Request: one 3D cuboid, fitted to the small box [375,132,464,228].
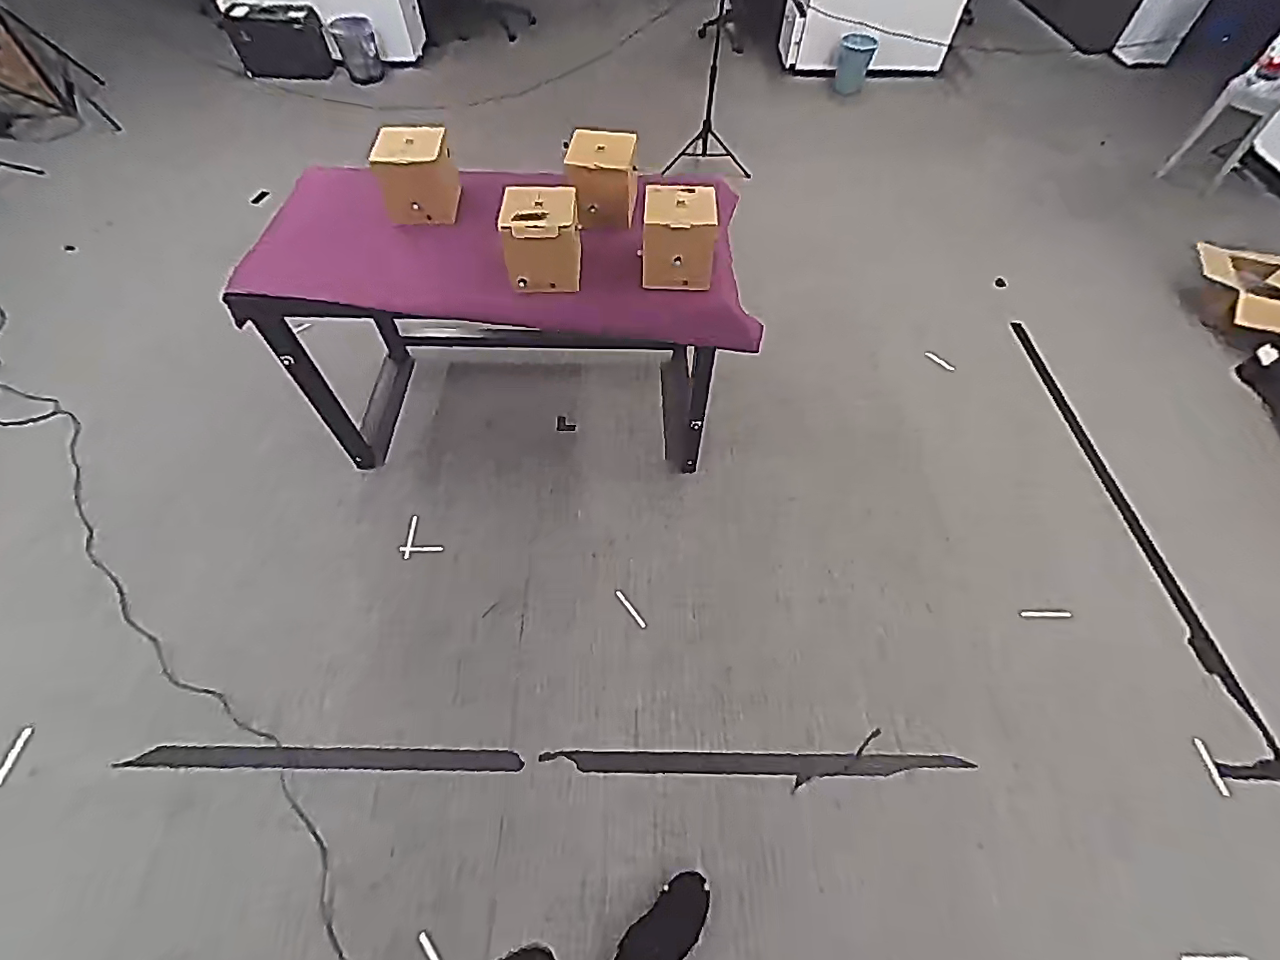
[{"bbox_3d":[-0.581,-0.803,1.451,0.168,0.176,0.179,-2,57,-2],"label":"small box"}]

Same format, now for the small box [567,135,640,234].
[{"bbox_3d":[-0.093,-0.794,1.458,0.168,0.176,0.179,6,58,3],"label":"small box"}]

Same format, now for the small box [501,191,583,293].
[{"bbox_3d":[-0.227,-0.568,1.299,0.168,0.176,0.179,0,55,-1],"label":"small box"}]

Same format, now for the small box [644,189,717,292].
[{"bbox_3d":[0.096,-0.577,1.310,0.168,0.176,0.179,3,55,1],"label":"small box"}]
